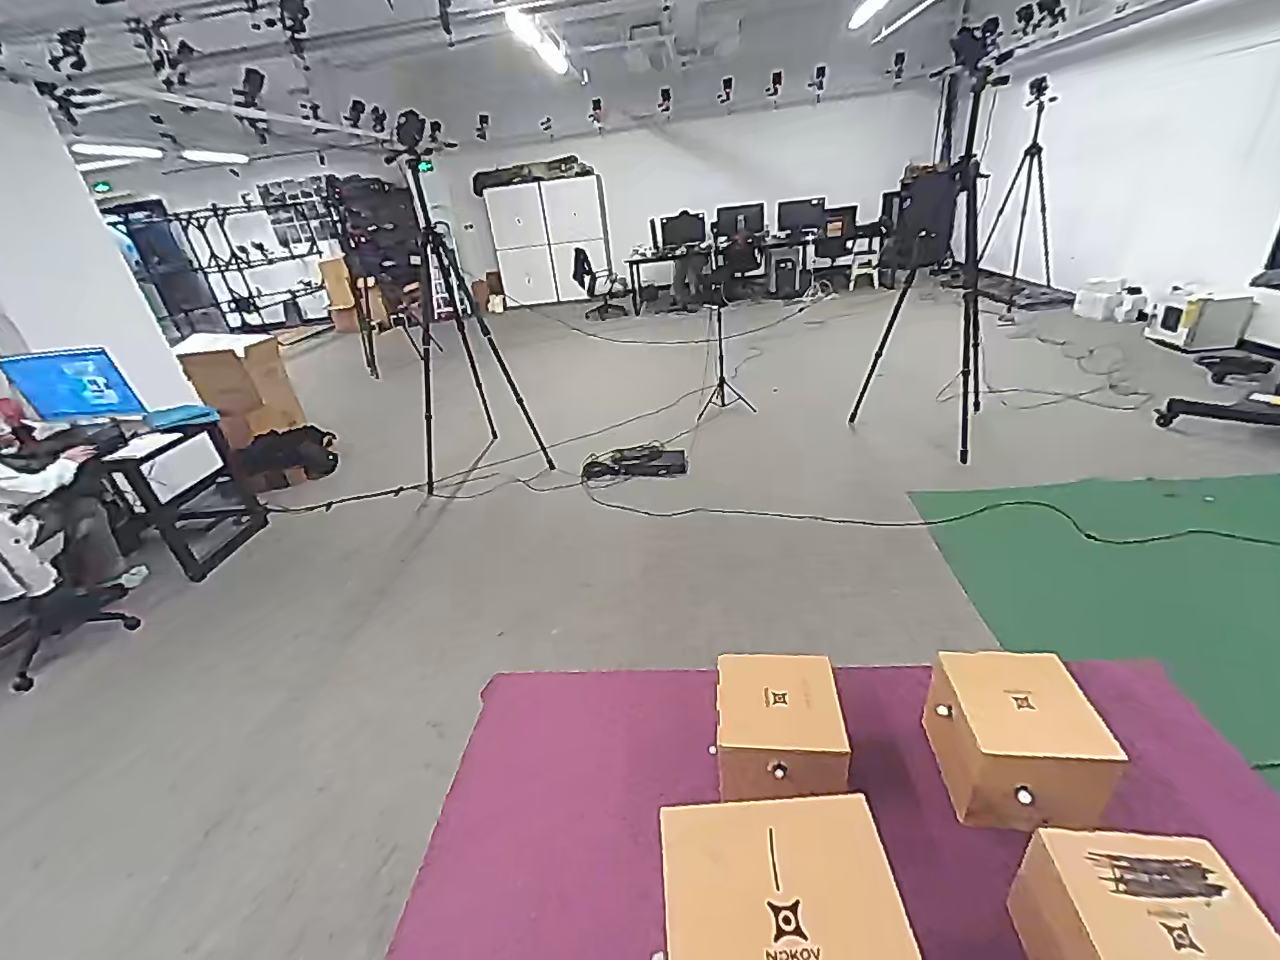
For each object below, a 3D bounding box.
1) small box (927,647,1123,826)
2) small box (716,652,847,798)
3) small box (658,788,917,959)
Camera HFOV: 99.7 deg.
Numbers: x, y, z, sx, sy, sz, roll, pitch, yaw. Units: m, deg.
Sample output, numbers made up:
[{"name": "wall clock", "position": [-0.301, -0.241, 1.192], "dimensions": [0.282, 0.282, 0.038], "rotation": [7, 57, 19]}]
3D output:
[{"name": "small box", "position": [0.535, 0.367, 0.782], "dimensions": [0.168, 0.176, 0.179], "rotation": [-3, 28, 10]}, {"name": "small box", "position": [0.211, 0.388, 0.831], "dimensions": [0.179, 0.176, 0.168], "rotation": [-2, 29, 10]}, {"name": "small box", "position": [0.105, 0.368, 0.409], "dimensions": [0.168, 0.176, 0.179], "rotation": [-6, 34, 2]}]
